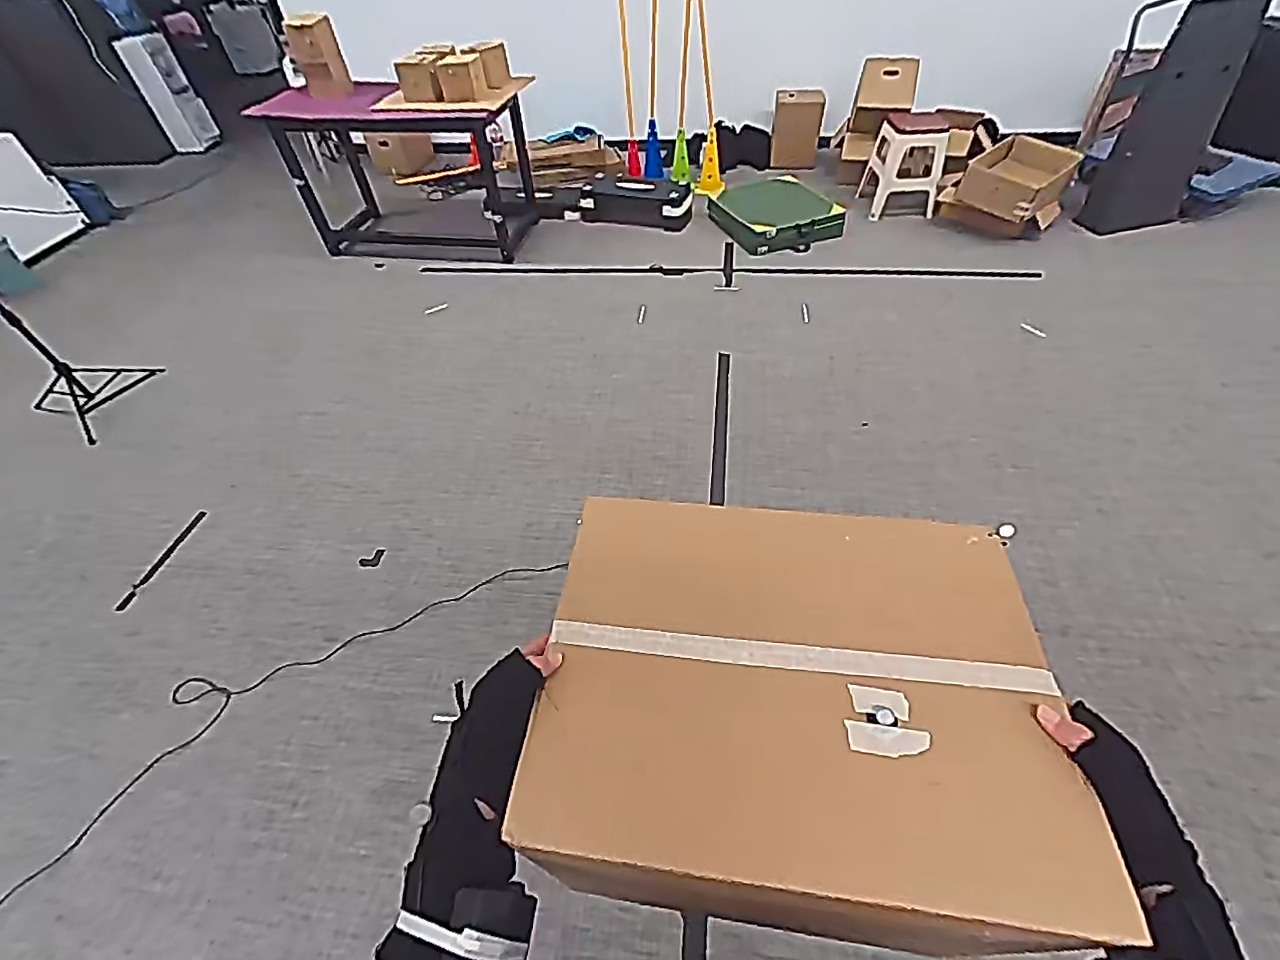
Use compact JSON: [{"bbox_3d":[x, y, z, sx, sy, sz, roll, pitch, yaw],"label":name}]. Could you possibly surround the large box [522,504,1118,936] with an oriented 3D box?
[{"bbox_3d":[0.132,0.249,0.572,0.408,0.320,0.320,4,49,7],"label":"large box"}]
